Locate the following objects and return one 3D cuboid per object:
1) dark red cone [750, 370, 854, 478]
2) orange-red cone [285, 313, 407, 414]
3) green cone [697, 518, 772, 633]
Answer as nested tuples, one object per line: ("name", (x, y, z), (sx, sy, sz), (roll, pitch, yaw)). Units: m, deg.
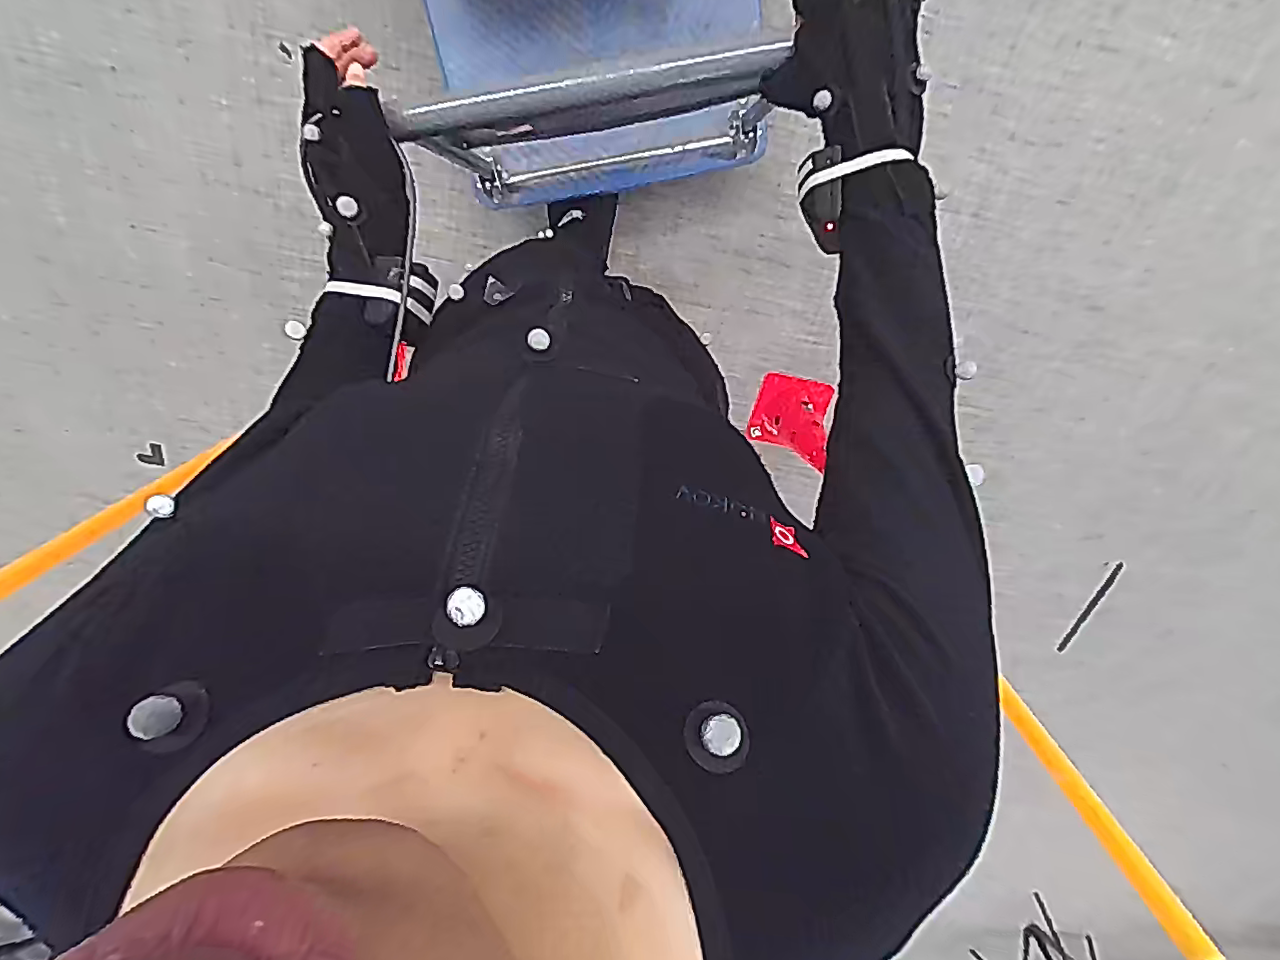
("dark red cone", (0.421, -0.110, 1.312), (0.201, 0.394, 0.202), (9, 118, -8))
("orange-red cone", (-0.705, -0.232, 1.241), (0.198, 0.360, 0.199), (16, 115, -11))
("green cone", (0.303, 0.298, 1.548), (0.202, 0.368, 0.200), (13, 117, -9))
